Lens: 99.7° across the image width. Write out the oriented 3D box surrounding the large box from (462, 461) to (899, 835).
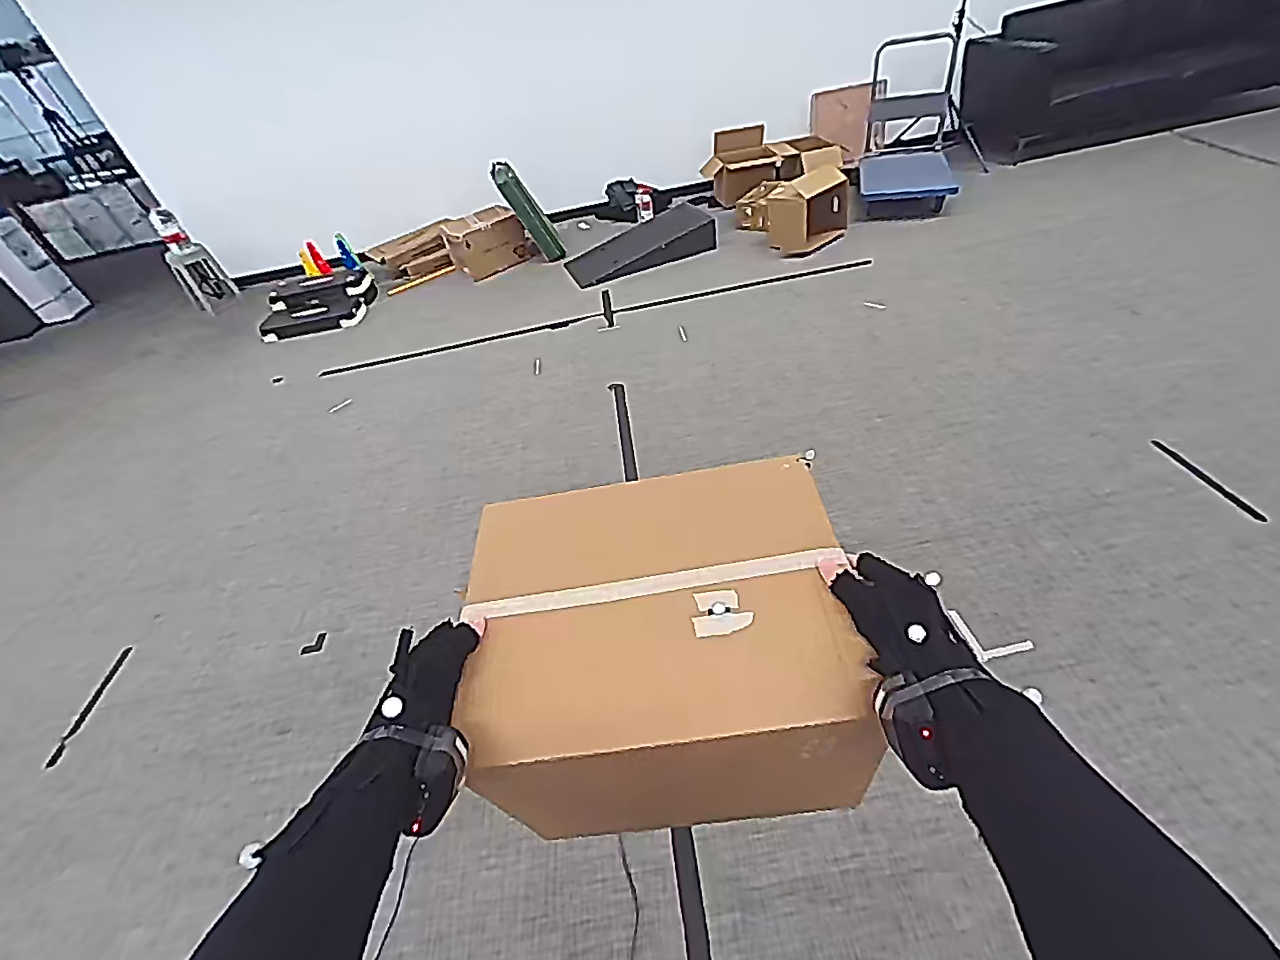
[{"bbox_3d":[0.041,0.217,0.686,0.408,0.320,0.320,-9,46,3],"label":"large box"}]
